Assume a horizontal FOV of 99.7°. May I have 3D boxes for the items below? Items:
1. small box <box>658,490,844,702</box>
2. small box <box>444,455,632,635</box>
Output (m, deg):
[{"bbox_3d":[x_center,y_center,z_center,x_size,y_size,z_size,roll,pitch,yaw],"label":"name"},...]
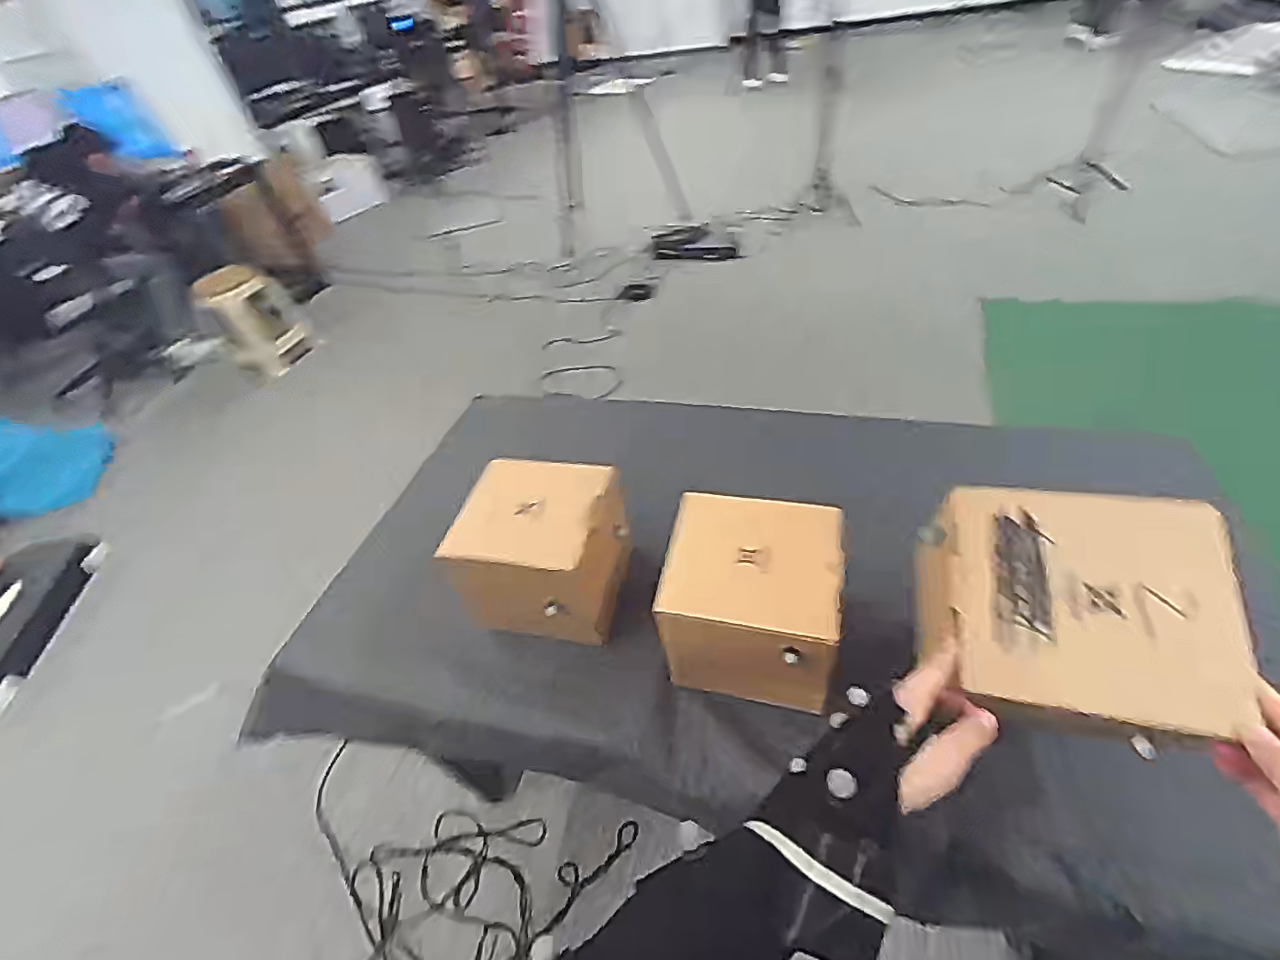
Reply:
[{"bbox_3d":[0.132,0.134,0.626,0.179,0.176,0.168,7,47,16],"label":"small box"},{"bbox_3d":[-0.118,0.087,0.719,0.179,0.176,0.168,4,45,16],"label":"small box"}]
